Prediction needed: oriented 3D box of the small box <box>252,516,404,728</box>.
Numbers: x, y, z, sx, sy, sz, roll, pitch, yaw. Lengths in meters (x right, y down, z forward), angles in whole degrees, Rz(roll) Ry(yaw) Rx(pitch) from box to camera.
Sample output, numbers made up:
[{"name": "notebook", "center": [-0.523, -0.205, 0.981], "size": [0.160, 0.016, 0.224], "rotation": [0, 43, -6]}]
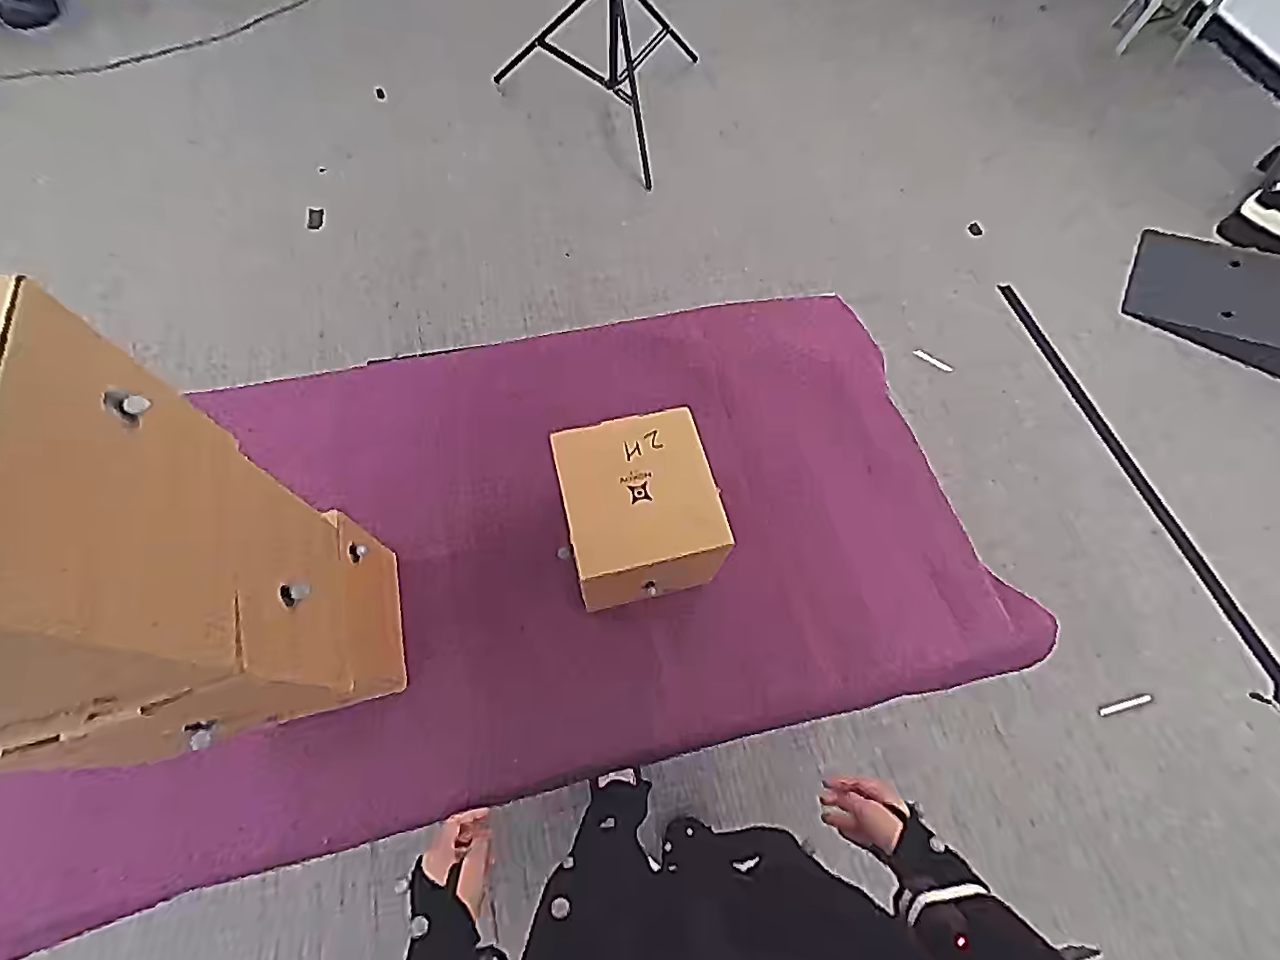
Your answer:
[{"name": "small box", "center": [-0.373, 0.163, 0.591], "size": [0.168, 0.176, 0.179], "rotation": [-13, 66, -8]}]

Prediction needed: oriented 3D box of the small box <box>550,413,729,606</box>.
[{"name": "small box", "center": [-0.007, 0.046, 0.660], "size": [0.168, 0.176, 0.179], "rotation": [-12, 66, -9]}]

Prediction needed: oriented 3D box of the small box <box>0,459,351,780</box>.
[{"name": "small box", "center": [-0.357, 0.113, 0.435], "size": [0.168, 0.176, 0.179], "rotation": [-17, 68, -11]}]
